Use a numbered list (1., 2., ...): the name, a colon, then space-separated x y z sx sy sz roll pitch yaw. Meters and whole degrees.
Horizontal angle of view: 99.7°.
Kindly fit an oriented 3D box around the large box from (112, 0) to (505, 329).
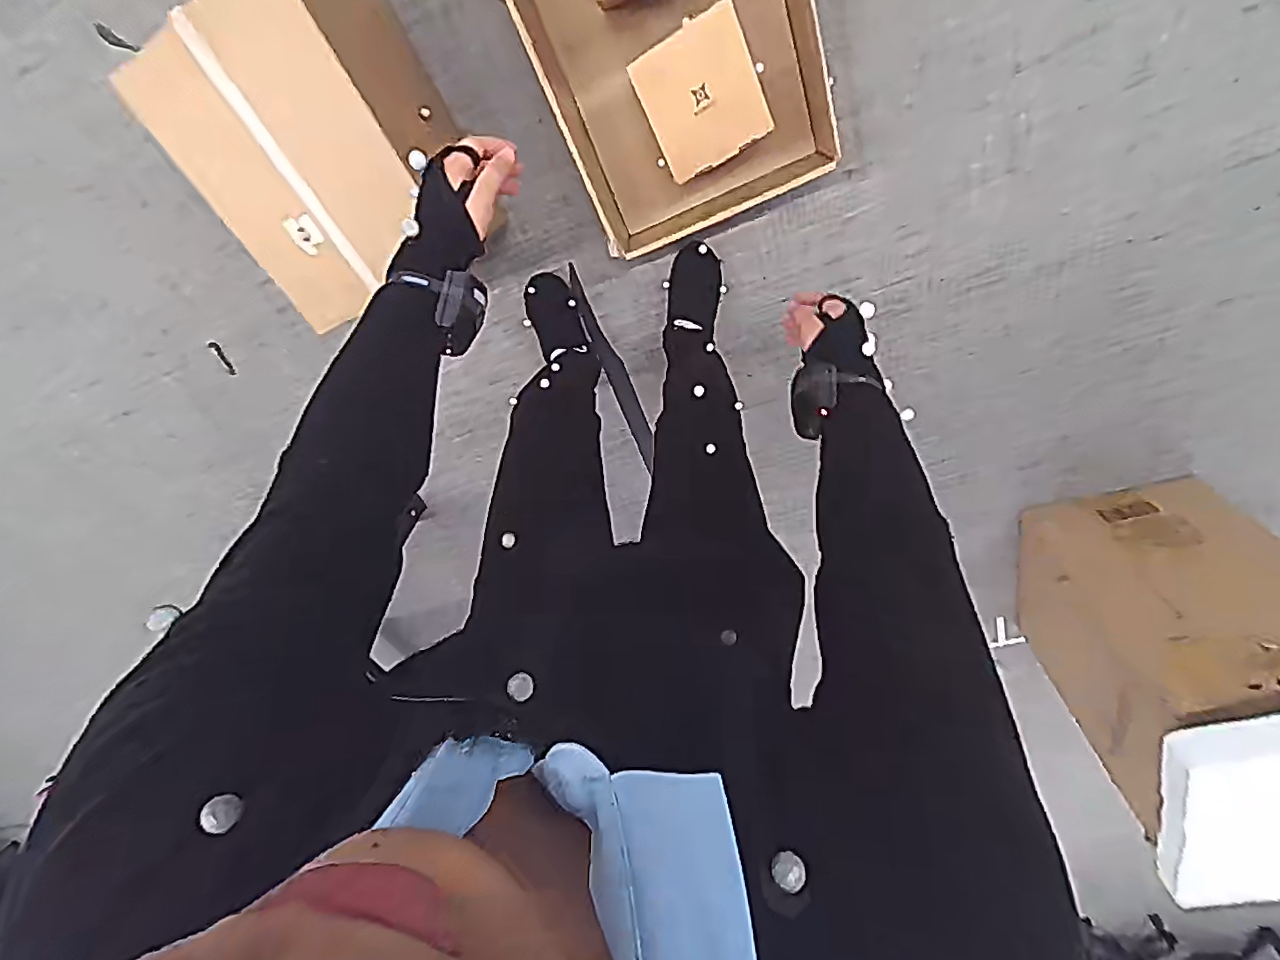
1. large box: -0.494 -0.543 0.912 0.320 0.320 0.408 -19 124 18
